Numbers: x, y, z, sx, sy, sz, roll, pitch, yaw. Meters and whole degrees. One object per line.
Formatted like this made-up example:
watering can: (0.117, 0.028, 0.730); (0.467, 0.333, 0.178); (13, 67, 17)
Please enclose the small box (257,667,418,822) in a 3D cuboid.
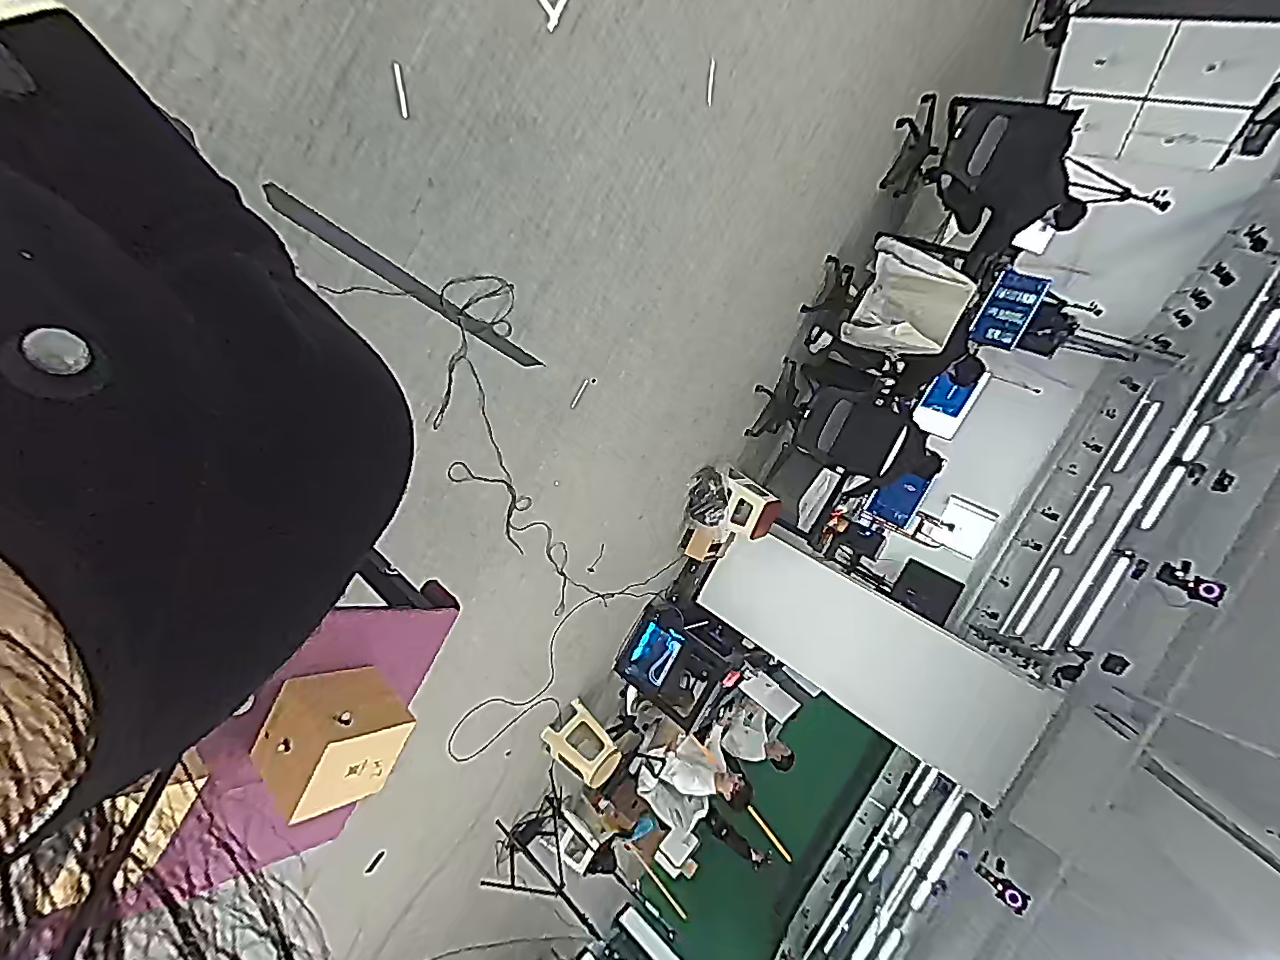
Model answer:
small box: (-0.556, 0.469, 0.991); (0.168, 0.176, 0.179); (-61, 151, 6)
